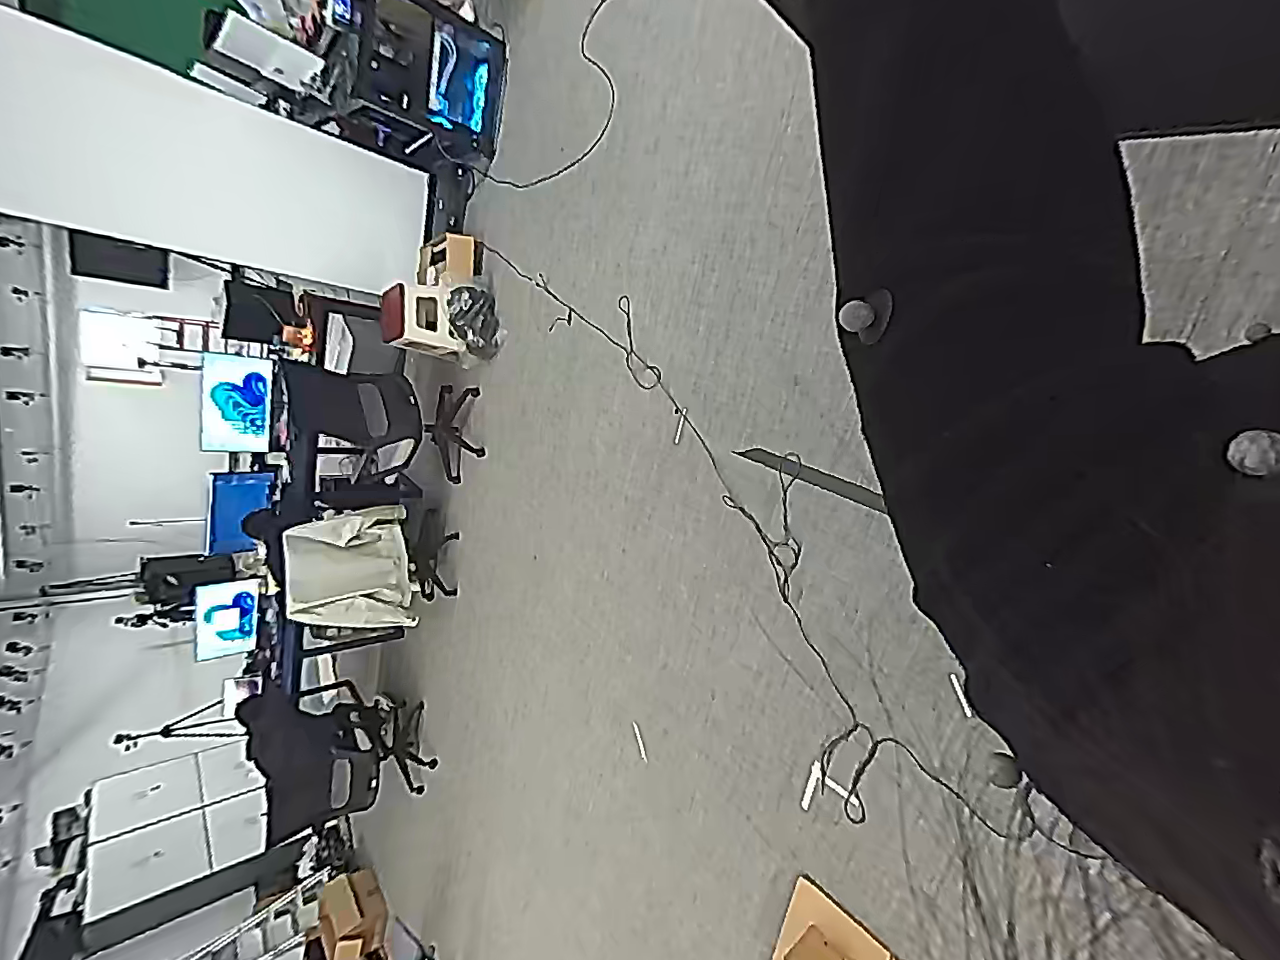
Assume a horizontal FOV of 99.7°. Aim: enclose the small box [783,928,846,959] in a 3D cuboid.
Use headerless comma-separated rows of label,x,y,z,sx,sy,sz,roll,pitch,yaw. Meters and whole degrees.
small box,0.514,1.482,1.581,0.168,0.176,0.179,19,105,44
